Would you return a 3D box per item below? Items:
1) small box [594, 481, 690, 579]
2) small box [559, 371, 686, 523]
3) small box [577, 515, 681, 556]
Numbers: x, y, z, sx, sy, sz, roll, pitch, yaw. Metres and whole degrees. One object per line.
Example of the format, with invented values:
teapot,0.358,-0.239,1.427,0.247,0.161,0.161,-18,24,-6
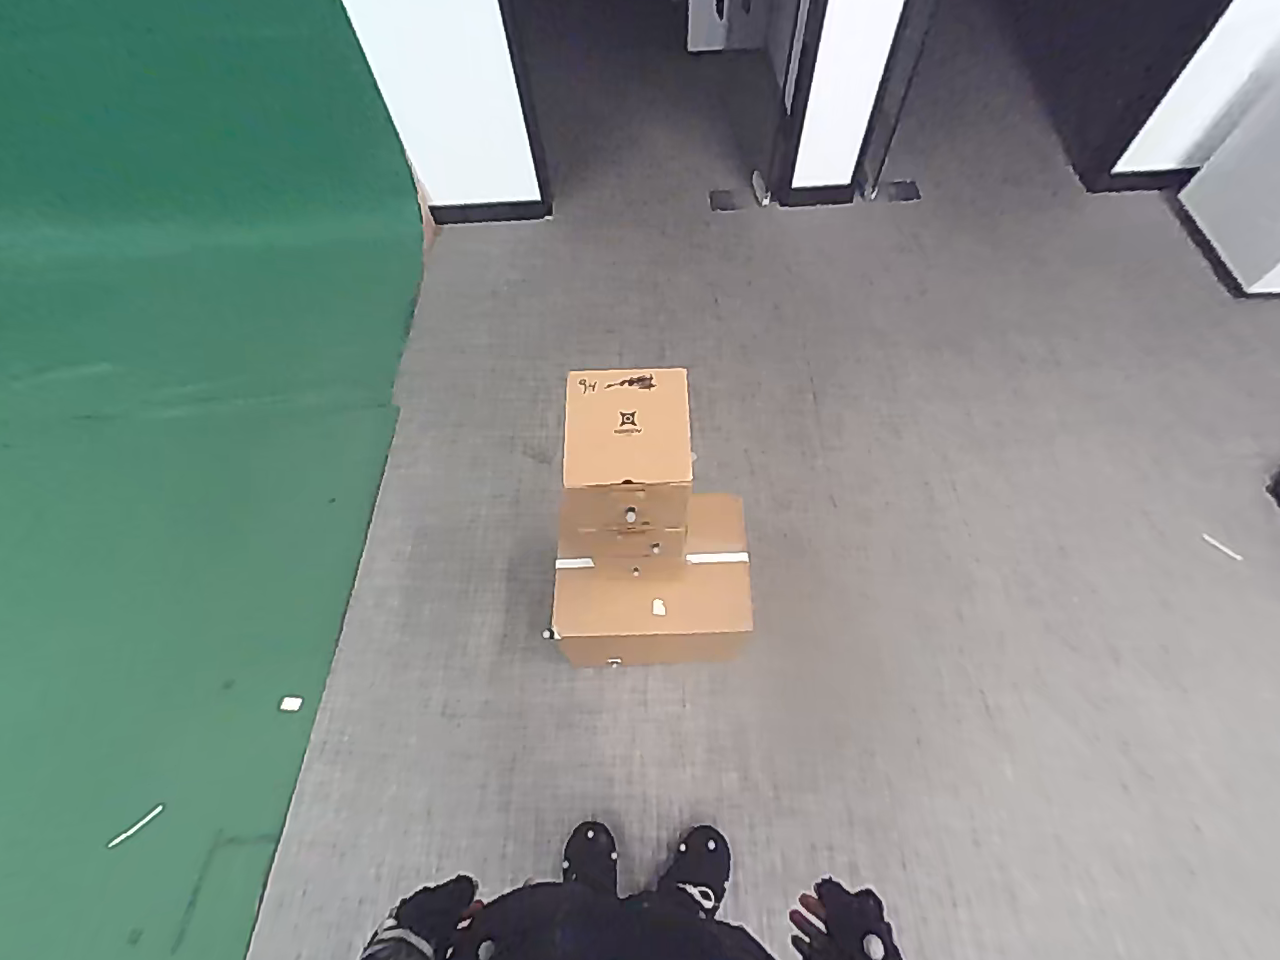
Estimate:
small box,0.005,0.099,1.084,0.179,0.176,0.168,-2,67,2
small box,-0.019,-0.038,0.790,0.168,0.176,0.179,-2,68,2
small box,-0.013,0.030,0.939,0.168,0.176,0.179,-1,66,2
